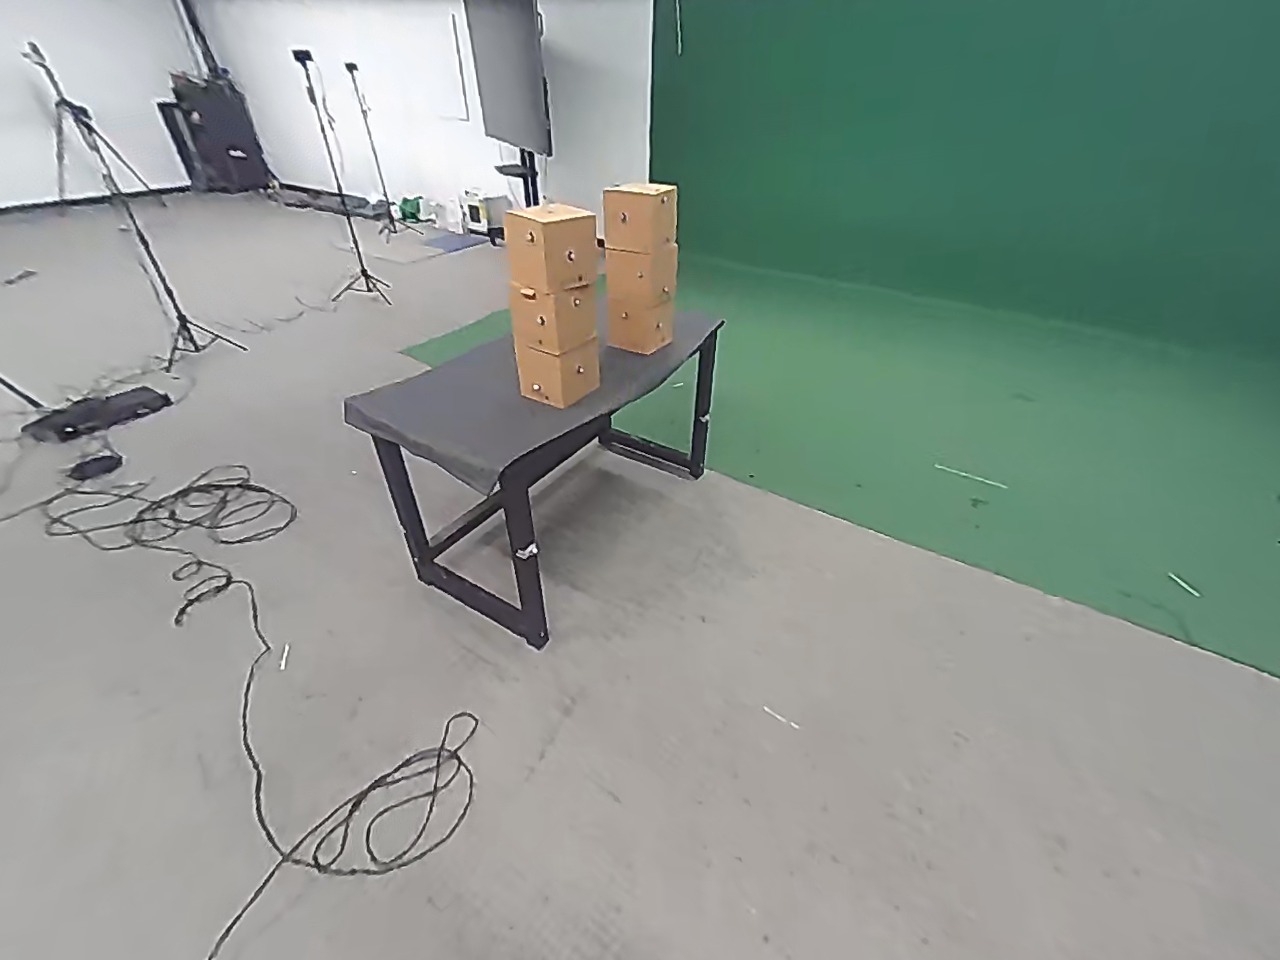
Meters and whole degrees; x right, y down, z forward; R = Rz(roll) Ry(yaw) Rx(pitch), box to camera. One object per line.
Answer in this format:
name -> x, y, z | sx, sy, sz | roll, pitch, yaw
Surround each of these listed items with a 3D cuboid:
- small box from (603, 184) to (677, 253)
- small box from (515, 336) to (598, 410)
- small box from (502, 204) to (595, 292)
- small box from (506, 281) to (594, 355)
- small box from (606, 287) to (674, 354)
small box -> 0.002, -0.813, 1.680 | 0.179, 0.176, 0.168 | 18, 40, 23
small box -> -0.238, -0.329, 1.573 | 0.168, 0.176, 0.179 | 21, 42, 26
small box -> -0.225, -0.588, 1.374 | 0.168, 0.176, 0.179 | -29, 46, -35
small box -> -0.235, -0.457, 1.473 | 0.168, 0.176, 0.179 | 23, 41, 26
small box -> 0.002, -0.550, 1.876 | 0.179, 0.176, 0.168 | 20, 41, 26
